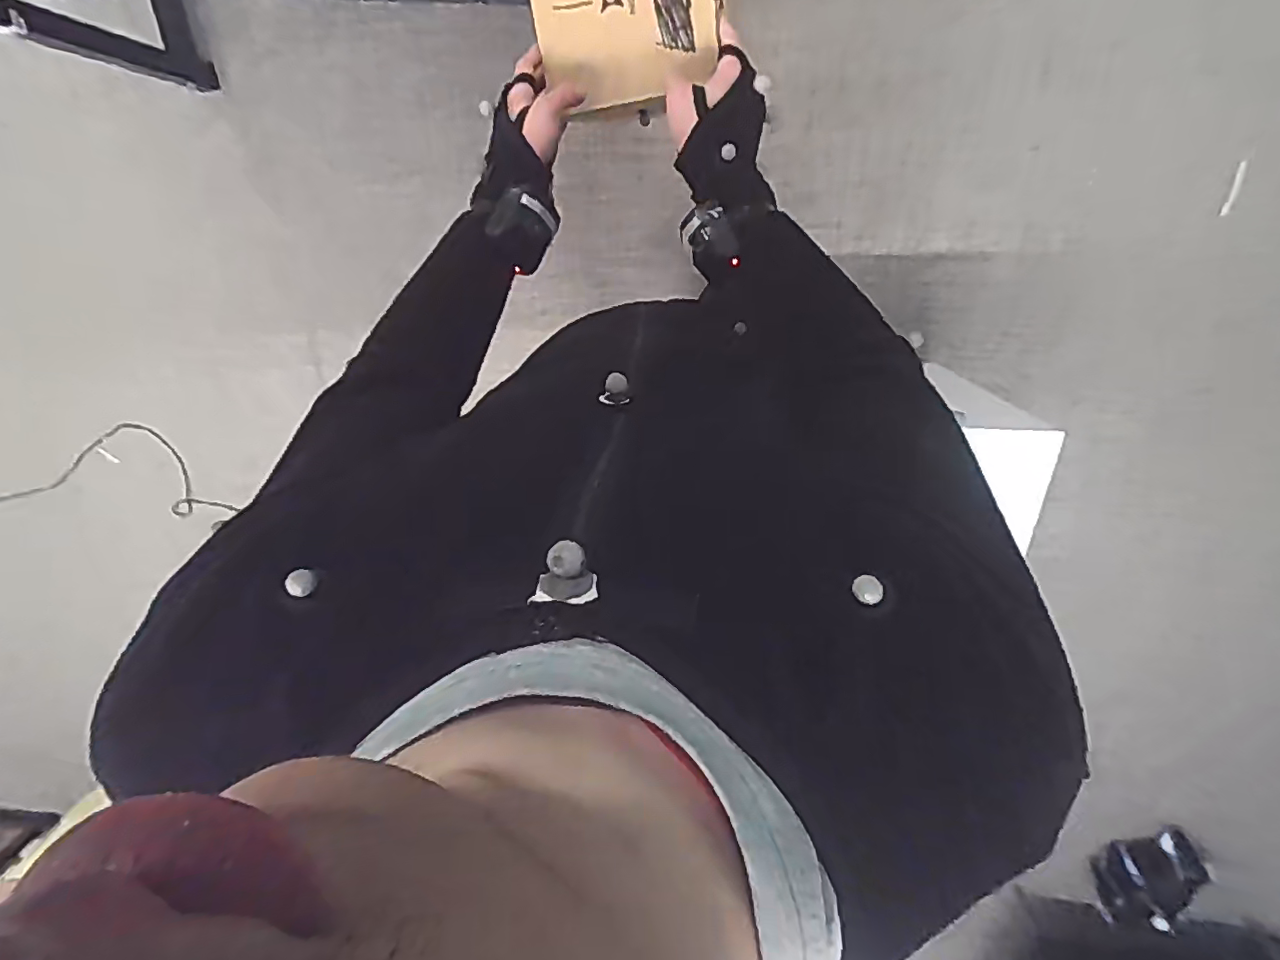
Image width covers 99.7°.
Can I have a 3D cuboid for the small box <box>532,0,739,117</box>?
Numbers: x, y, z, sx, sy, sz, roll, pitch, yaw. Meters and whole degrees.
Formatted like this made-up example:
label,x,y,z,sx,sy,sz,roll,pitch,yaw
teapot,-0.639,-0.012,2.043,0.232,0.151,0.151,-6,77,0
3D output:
label,x,y,z,sx,sy,sz,roll,pitch,yaw
small box,0.004,-0.474,0.536,0.179,0.176,0.168,0,119,17
